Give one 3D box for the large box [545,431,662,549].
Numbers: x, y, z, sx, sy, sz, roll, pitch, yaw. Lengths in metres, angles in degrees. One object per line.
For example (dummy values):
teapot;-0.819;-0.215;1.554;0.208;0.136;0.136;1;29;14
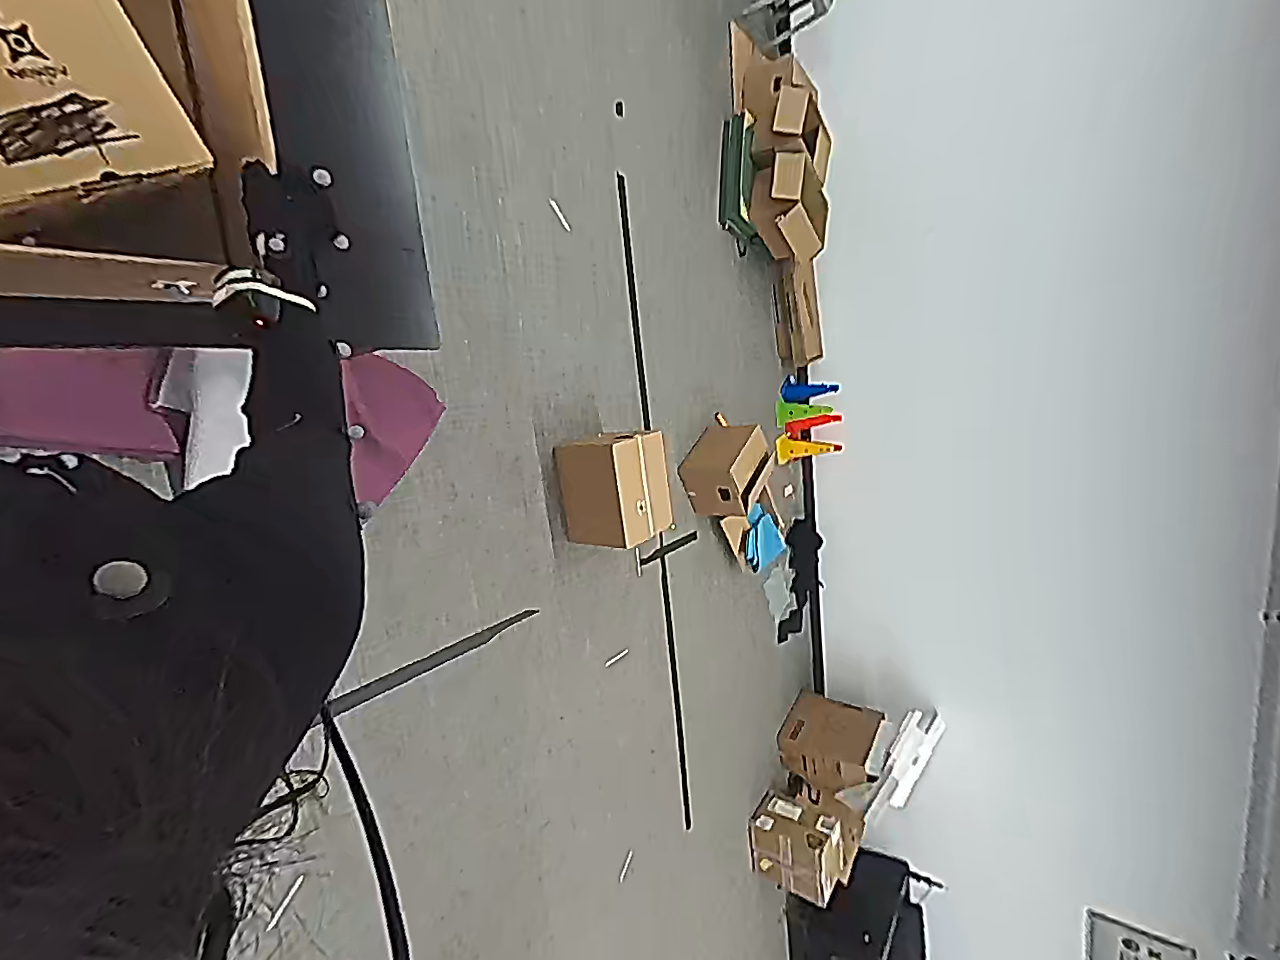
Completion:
large box;-0.143;0.028;2.171;0.320;0.320;0.408;-22;109;-50
